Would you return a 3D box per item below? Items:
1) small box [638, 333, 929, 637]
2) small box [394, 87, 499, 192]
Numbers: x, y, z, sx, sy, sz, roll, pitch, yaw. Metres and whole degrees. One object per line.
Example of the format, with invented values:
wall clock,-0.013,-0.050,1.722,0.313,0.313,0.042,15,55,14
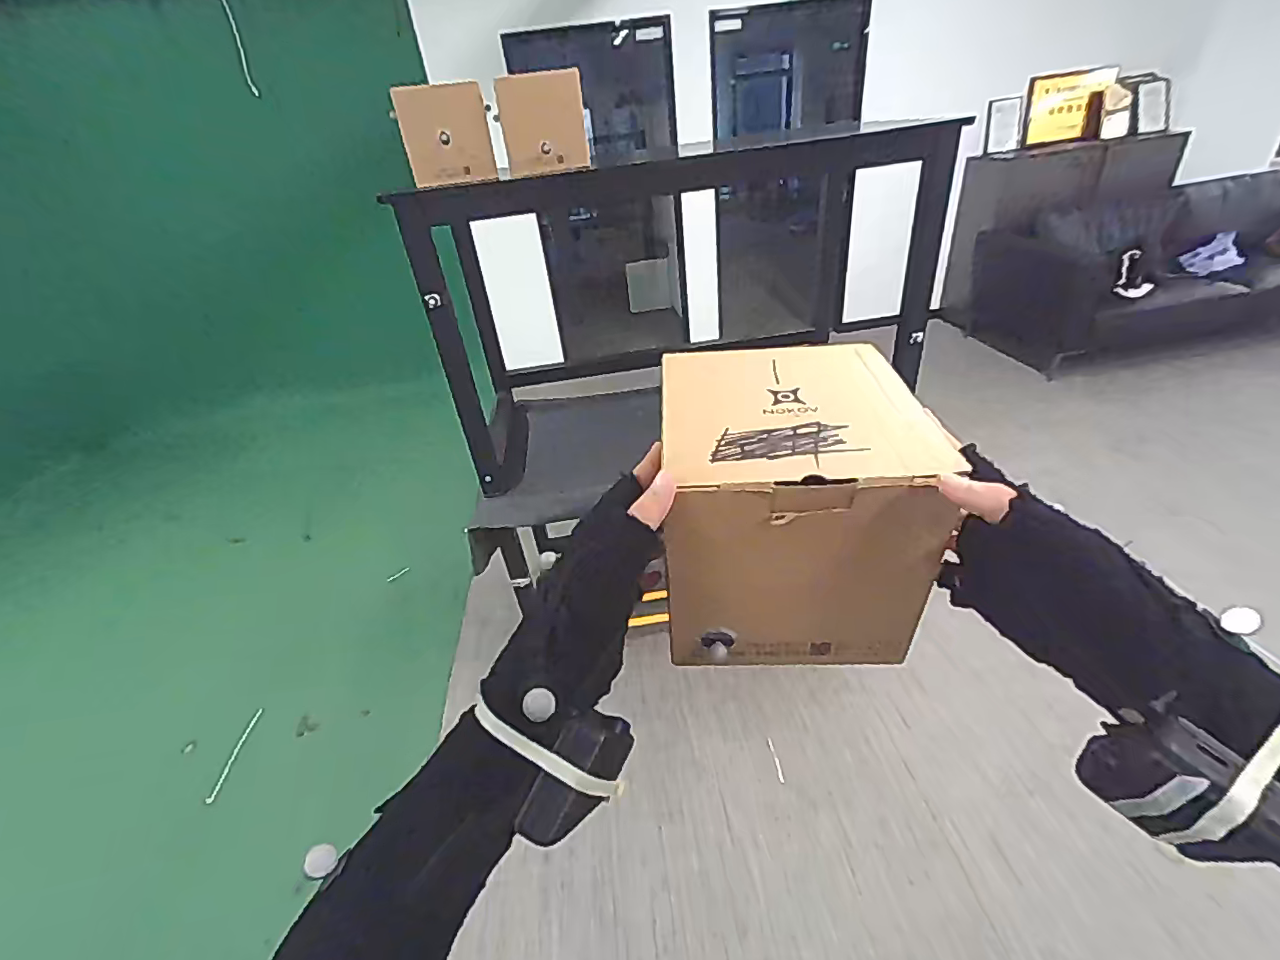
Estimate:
small box,0.091,0.004,0.416,0.168,0.176,0.179,-2,36,4
small box,-0.401,-0.717,1.150,0.168,0.176,0.179,-12,32,-9
